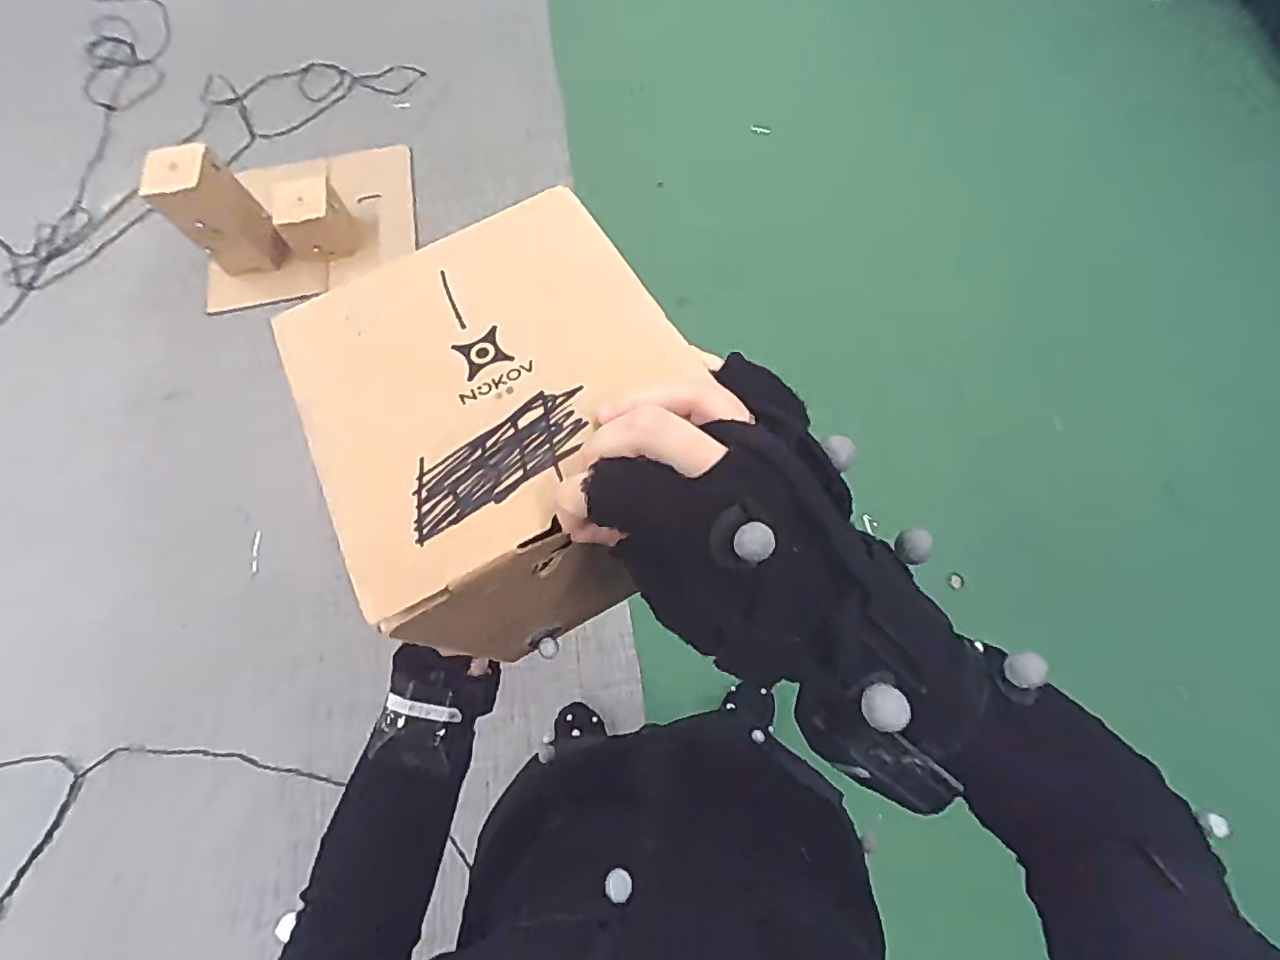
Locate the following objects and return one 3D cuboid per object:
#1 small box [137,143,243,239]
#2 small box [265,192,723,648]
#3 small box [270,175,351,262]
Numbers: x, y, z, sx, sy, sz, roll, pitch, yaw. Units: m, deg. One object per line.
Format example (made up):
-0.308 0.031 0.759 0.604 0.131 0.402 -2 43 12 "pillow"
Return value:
-1.308 -0.843 1.587 0.168 0.176 0.179 -9 70 1 "small box"
-0.067 -0.016 0.319 0.168 0.176 0.179 -29 68 -7 "small box"
-1.061 -0.843 1.753 0.168 0.176 0.179 -13 71 -2 "small box"
